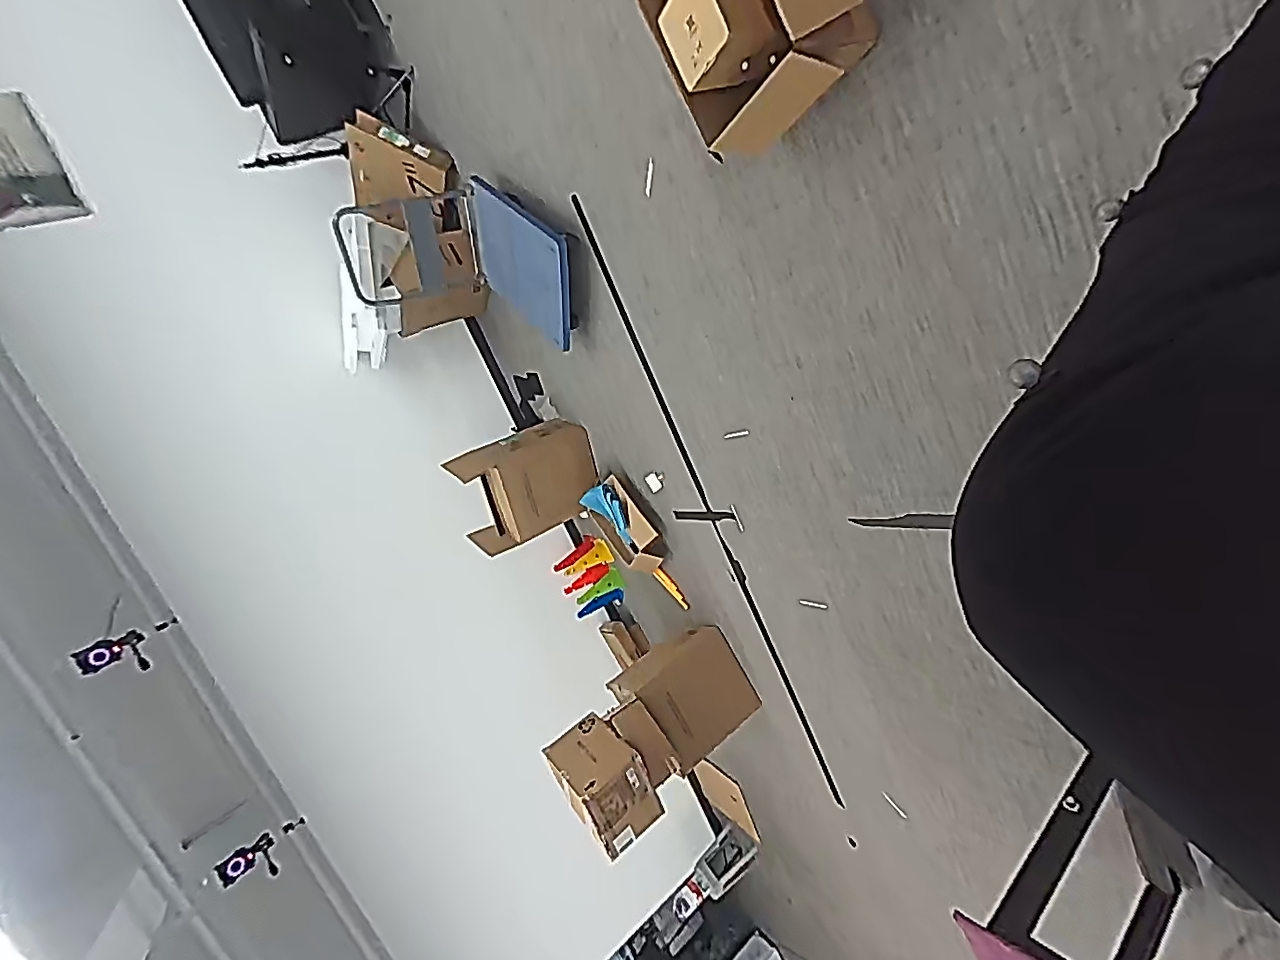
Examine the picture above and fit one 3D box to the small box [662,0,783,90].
[{"bbox_3d":[0.185,-1.022,1.212,0.179,0.176,0.168,64,154,-7],"label":"small box"}]
